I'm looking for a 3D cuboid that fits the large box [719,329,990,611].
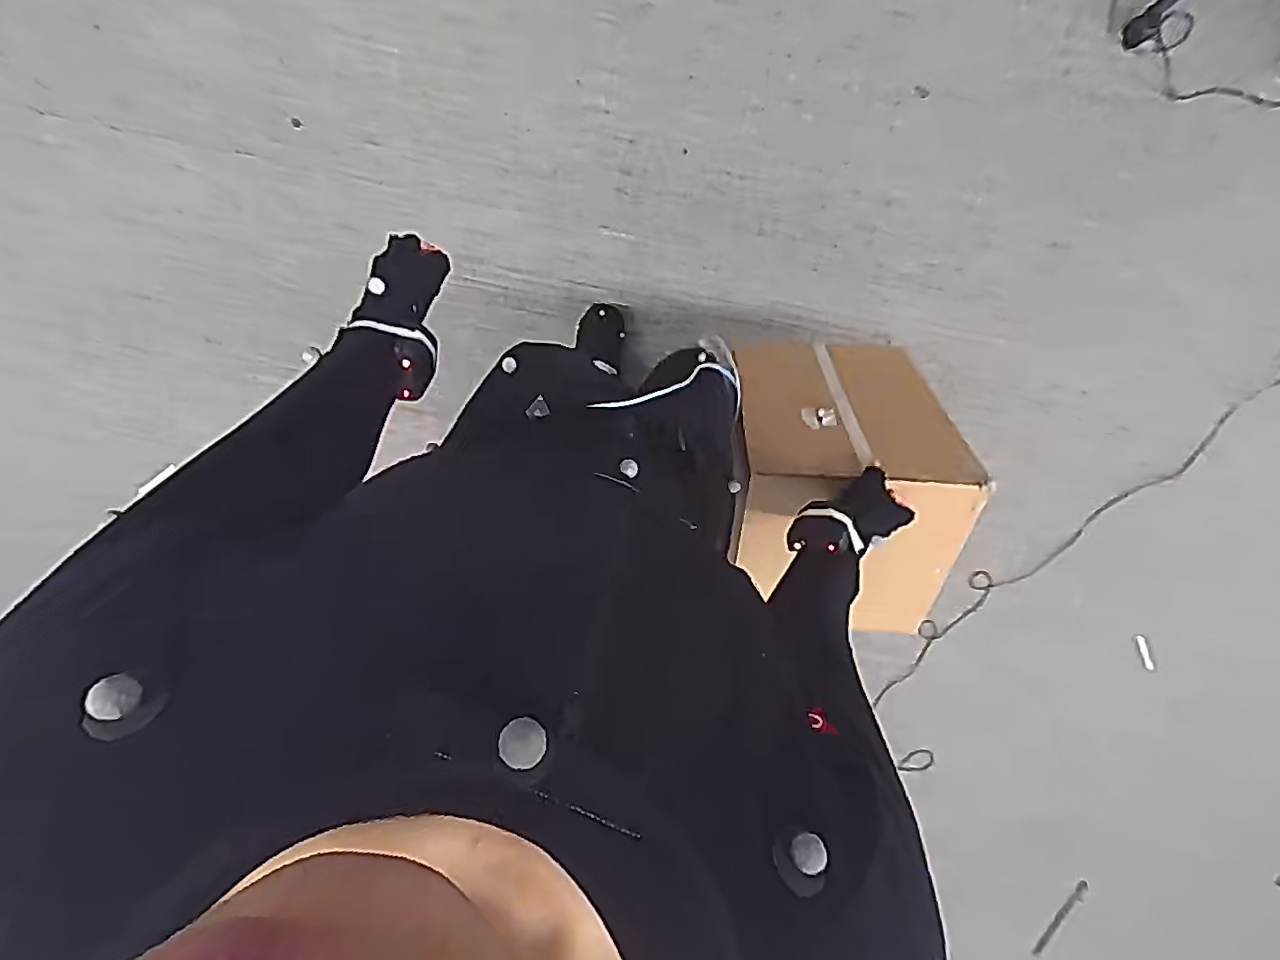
[{"bbox_3d":[0.314,-0.031,0.951,0.320,0.408,0.320,2,132,4],"label":"large box"}]
